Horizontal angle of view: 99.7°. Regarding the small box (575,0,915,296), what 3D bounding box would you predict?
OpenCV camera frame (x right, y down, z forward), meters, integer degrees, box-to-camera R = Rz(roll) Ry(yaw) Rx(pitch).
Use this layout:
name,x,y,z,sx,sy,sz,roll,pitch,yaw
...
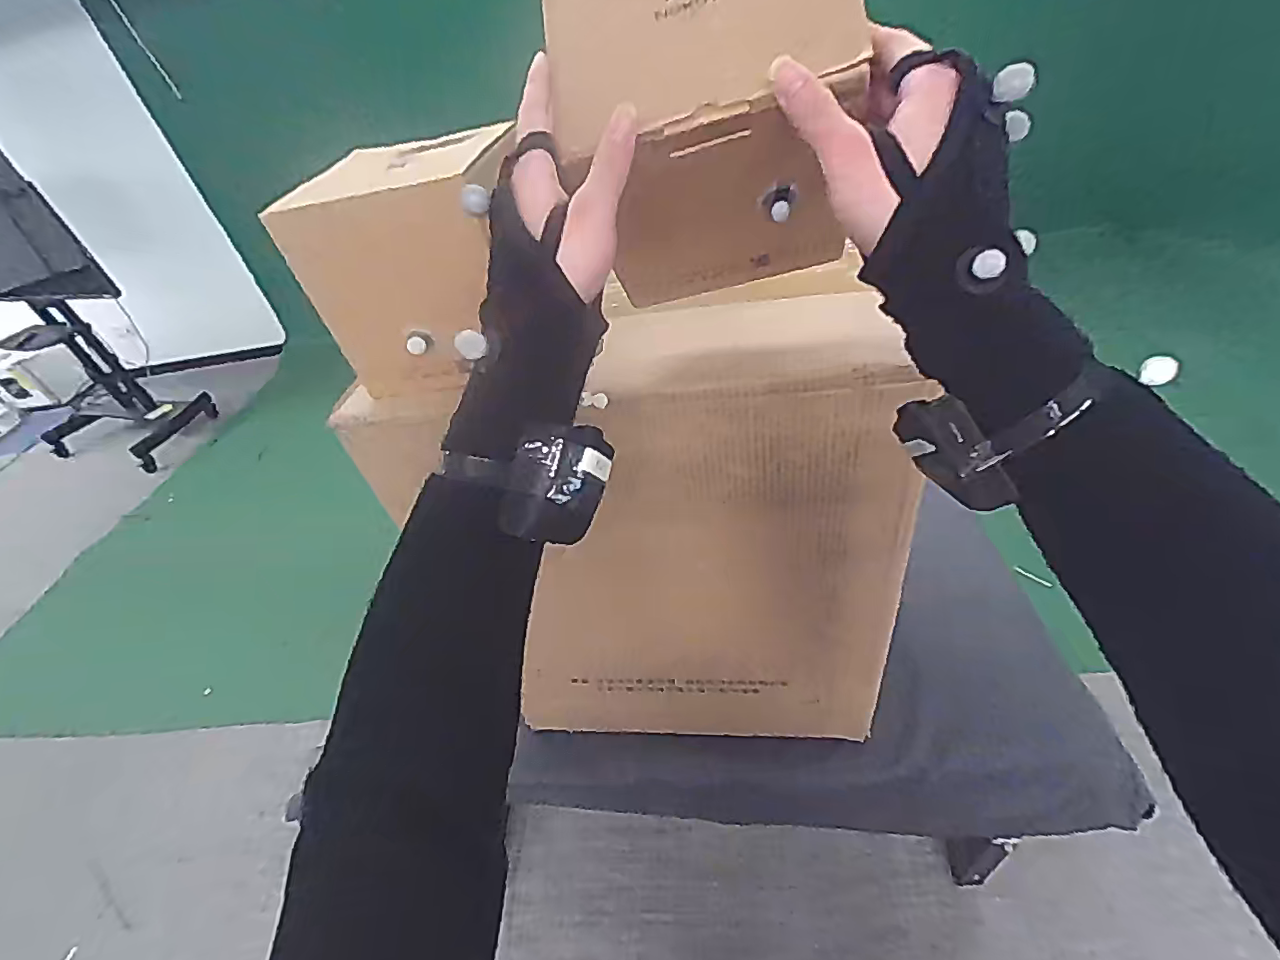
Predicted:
name,x,y,z,sx,sy,sz,roll,pitch,yaw
small box,0.062,-0.244,0.363,0.168,0.176,0.179,-8,76,11

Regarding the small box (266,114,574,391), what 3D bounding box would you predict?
name,x,y,z,sx,sy,sz,roll,pitch,yaw
small box,-0.167,-0.200,0.483,0.168,0.176,0.179,-3,43,12
